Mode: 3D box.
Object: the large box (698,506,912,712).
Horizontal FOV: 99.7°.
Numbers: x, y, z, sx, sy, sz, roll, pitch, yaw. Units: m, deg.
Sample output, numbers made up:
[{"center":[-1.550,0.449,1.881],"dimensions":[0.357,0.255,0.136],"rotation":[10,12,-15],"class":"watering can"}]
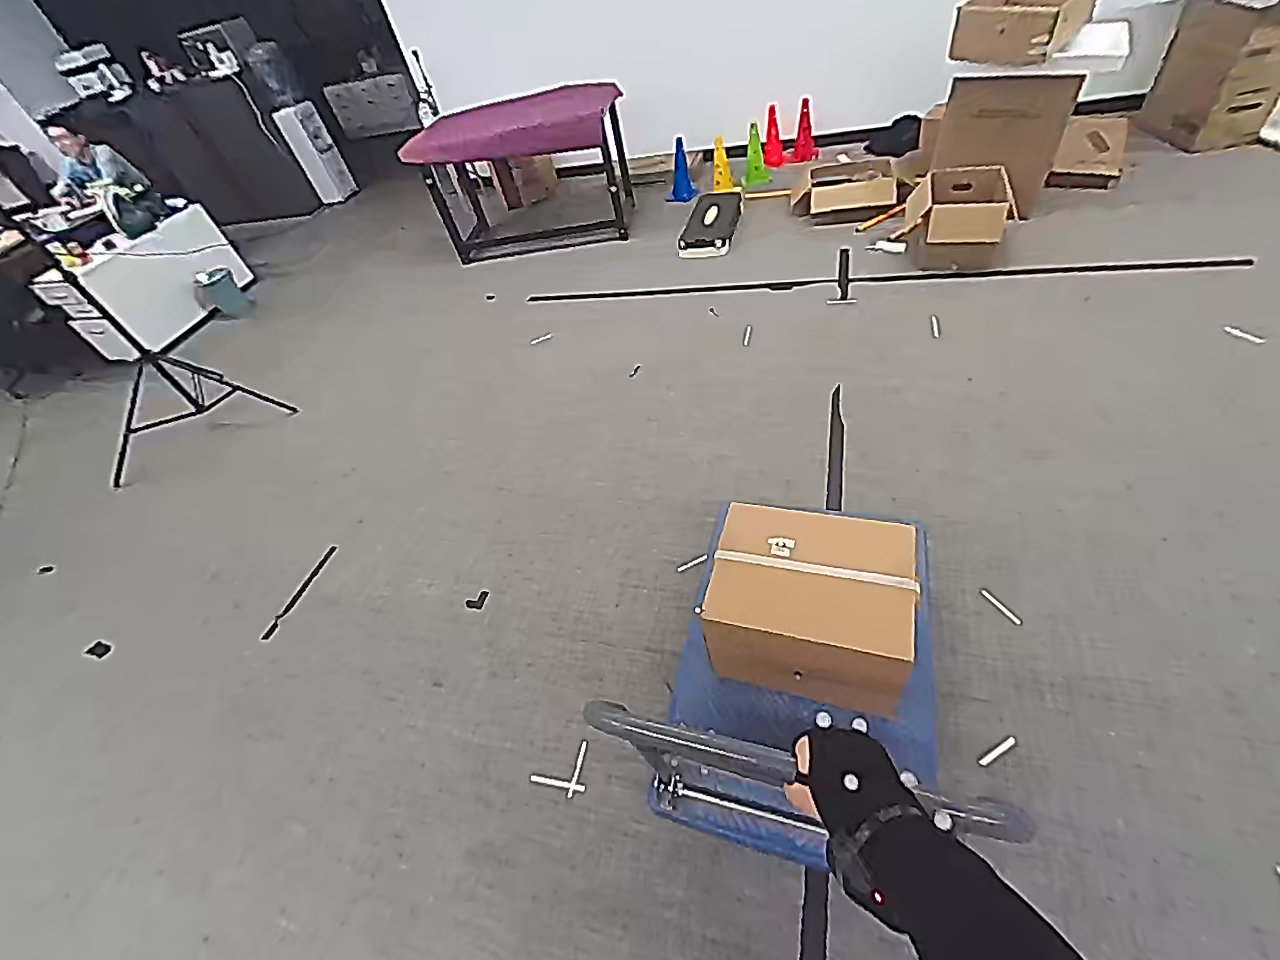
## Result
[{"center":[0.379,0.287,1.234],"dimensions":[0.408,0.320,0.320],"rotation":[6,49,21],"class":"large box"}]
